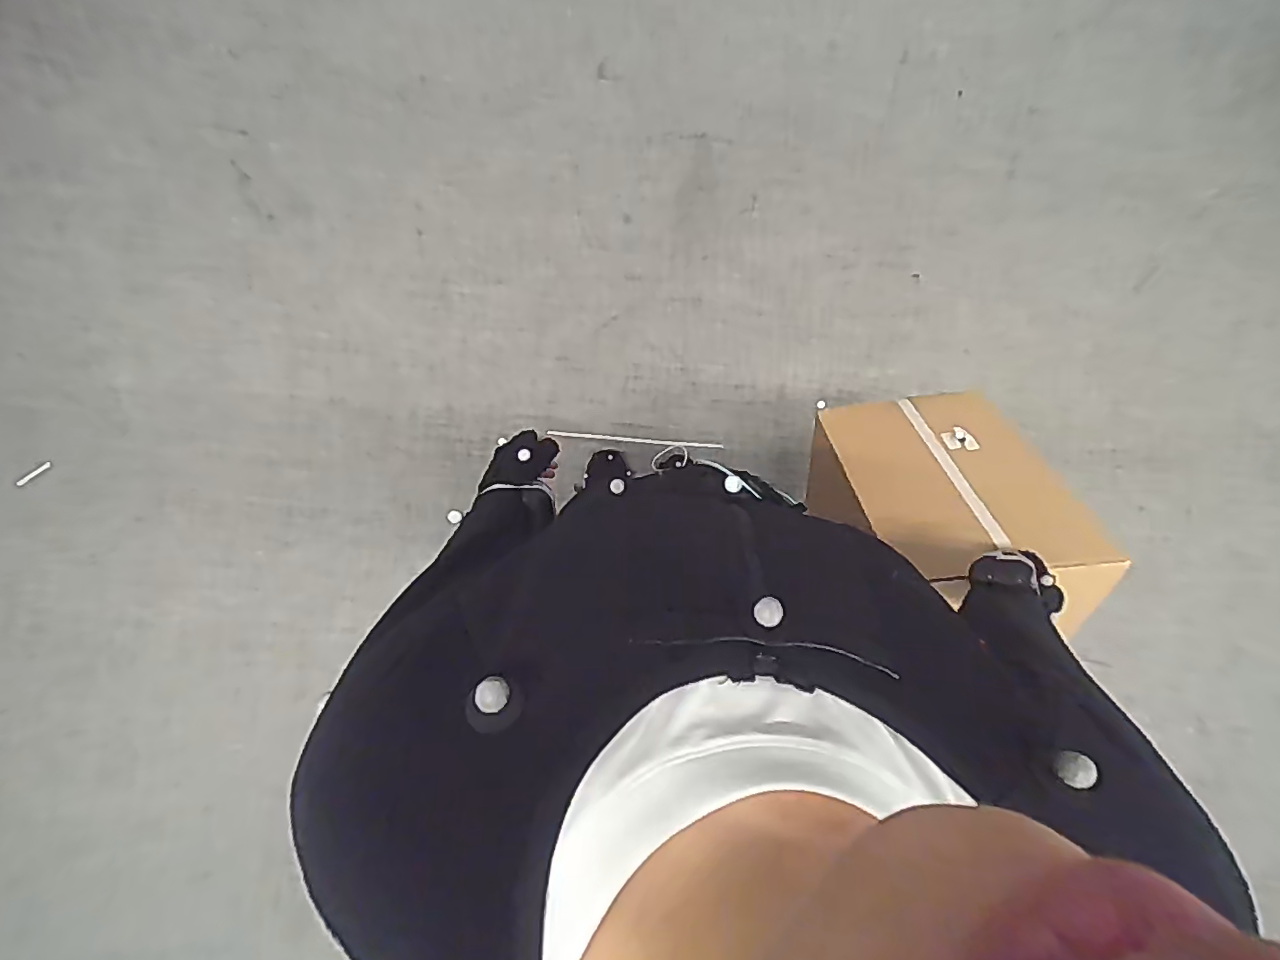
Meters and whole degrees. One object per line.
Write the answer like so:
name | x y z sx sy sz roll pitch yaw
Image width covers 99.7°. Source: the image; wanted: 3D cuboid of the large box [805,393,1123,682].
large box | 0.515 0.096 0.981 0.320 0.408 0.320 -6 132 2
